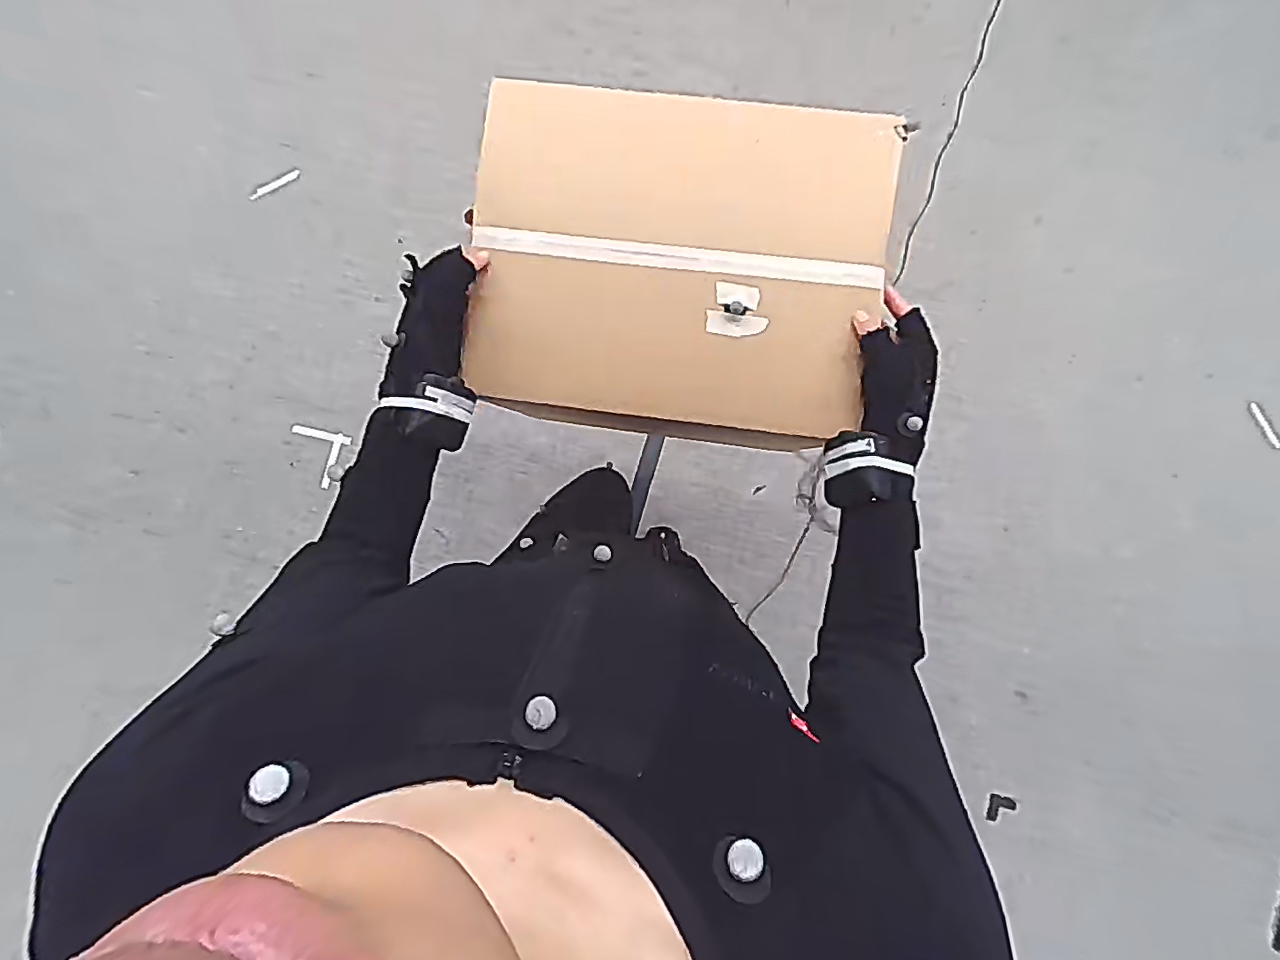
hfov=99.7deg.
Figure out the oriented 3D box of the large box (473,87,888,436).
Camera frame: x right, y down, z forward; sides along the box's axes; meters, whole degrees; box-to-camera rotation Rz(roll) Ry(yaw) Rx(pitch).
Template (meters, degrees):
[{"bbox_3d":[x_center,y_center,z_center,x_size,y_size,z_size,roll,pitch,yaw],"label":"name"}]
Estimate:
[{"bbox_3d":[0.041,-0.236,0.699,0.408,0.320,0.320,7,93,3],"label":"large box"}]
